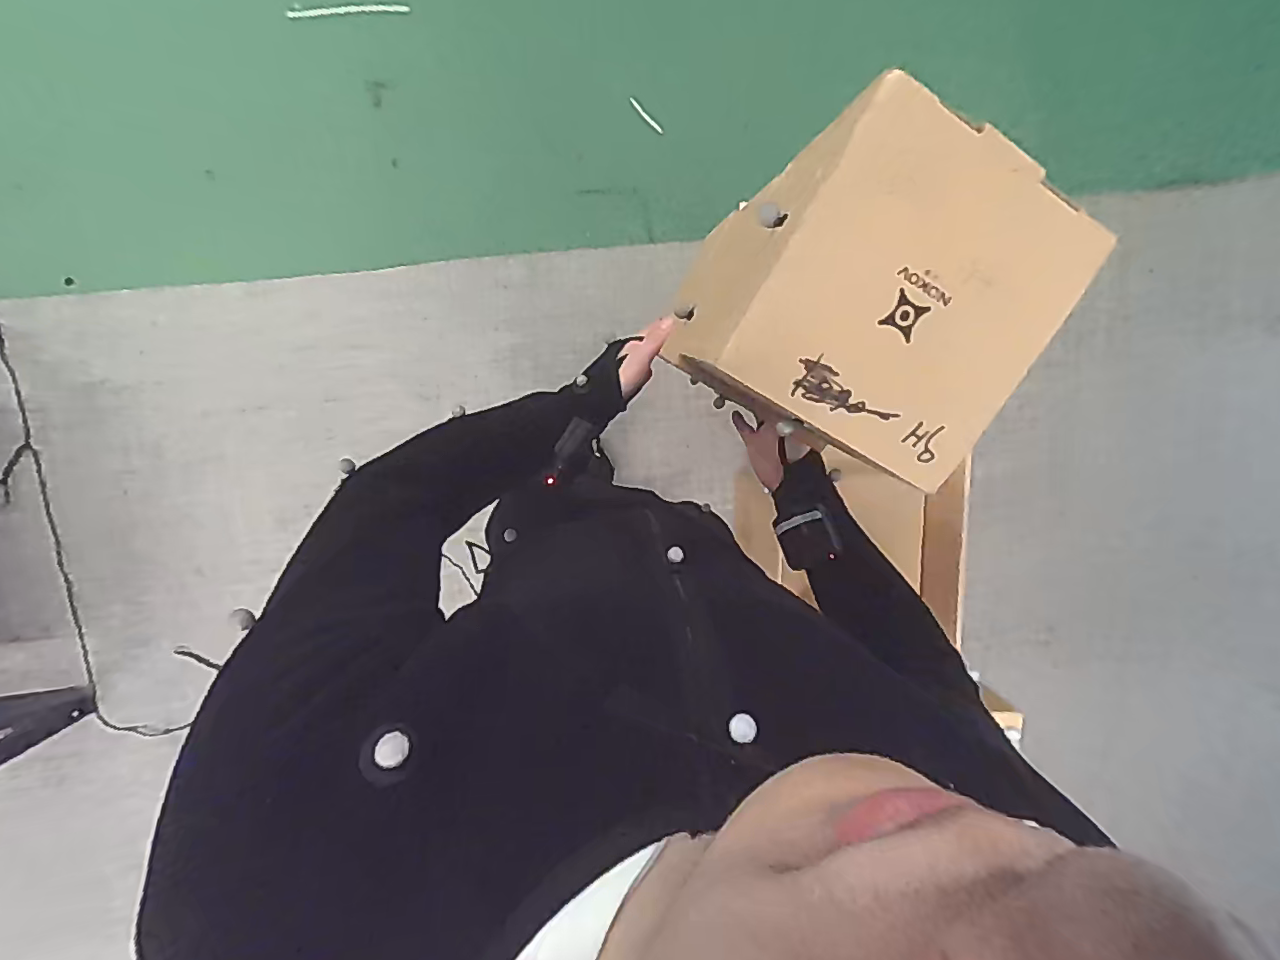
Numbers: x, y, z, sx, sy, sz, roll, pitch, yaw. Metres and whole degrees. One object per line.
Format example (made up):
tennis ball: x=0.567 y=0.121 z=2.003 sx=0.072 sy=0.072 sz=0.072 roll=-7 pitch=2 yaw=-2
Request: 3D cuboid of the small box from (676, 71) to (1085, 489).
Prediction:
small box: x=0.138 y=-0.123 z=0.386 sx=0.168 sy=0.176 sz=0.179 roll=27 pitch=101 yaw=-10

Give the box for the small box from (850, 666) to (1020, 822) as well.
small box: x=0.457 y=0.411 z=0.865 sx=0.179 sy=0.176 sz=0.168 roll=2 pitch=96 yaw=-4

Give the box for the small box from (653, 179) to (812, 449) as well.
small box: x=0.123 y=-0.157 z=0.547 sx=0.168 sy=0.176 sz=0.179 roll=28 pitch=101 yaw=-10
